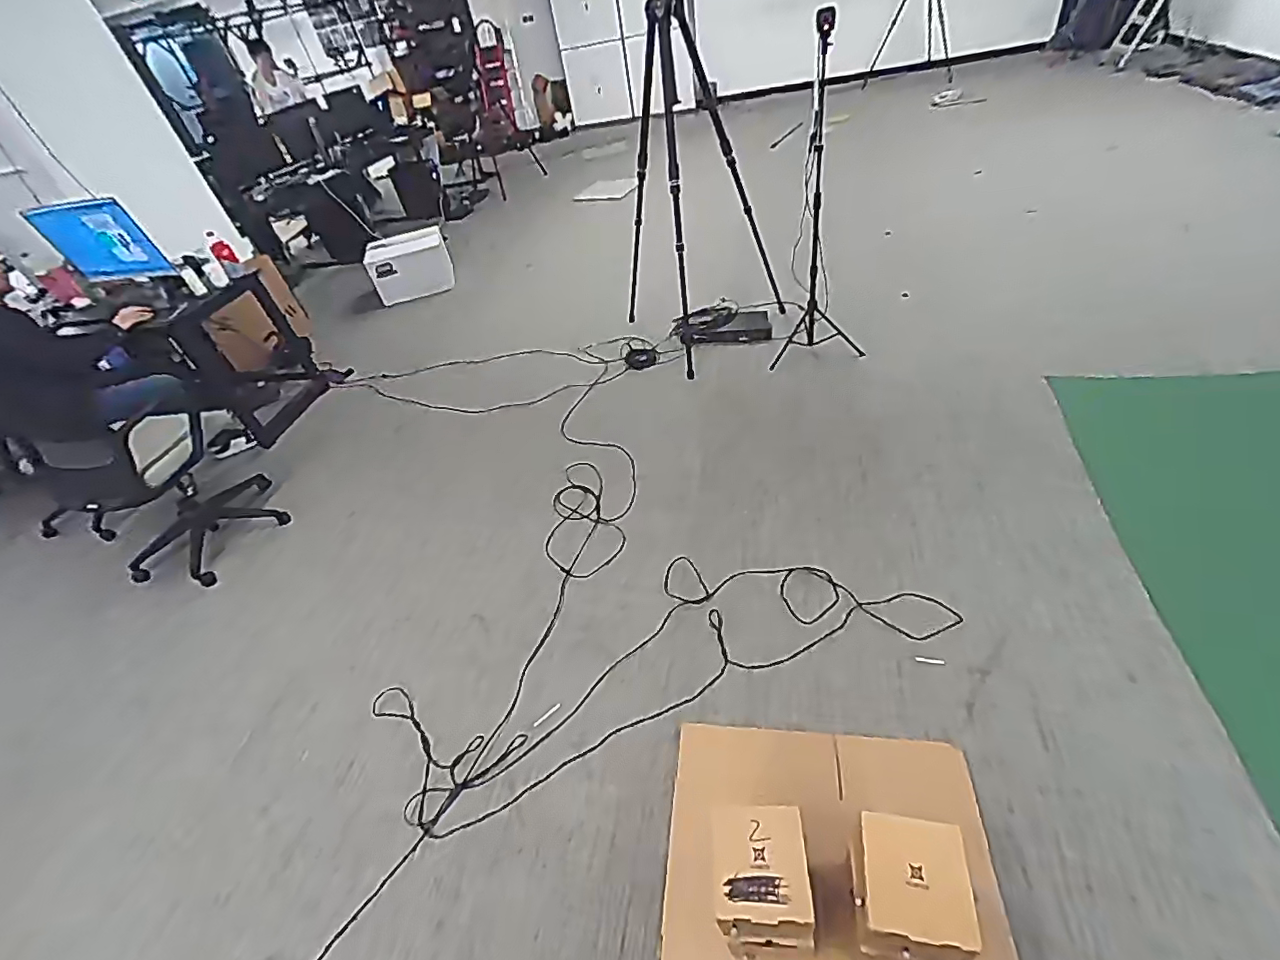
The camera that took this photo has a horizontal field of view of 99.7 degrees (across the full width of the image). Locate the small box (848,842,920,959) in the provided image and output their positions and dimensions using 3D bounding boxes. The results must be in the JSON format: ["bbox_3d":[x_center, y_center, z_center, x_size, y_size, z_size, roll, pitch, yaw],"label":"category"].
[{"bbox_3d":[0.507,0.845,1.061,0.168,0.176,0.179,-3,43,15],"label":"small box"}]

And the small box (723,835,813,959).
[{"bbox_3d":[0.261,0.856,1.110,0.168,0.176,0.179,-5,43,10],"label":"small box"}]

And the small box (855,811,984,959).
[{"bbox_3d":[0.480,0.722,0.958,0.168,0.176,0.179,0,44,16],"label":"small box"}]
